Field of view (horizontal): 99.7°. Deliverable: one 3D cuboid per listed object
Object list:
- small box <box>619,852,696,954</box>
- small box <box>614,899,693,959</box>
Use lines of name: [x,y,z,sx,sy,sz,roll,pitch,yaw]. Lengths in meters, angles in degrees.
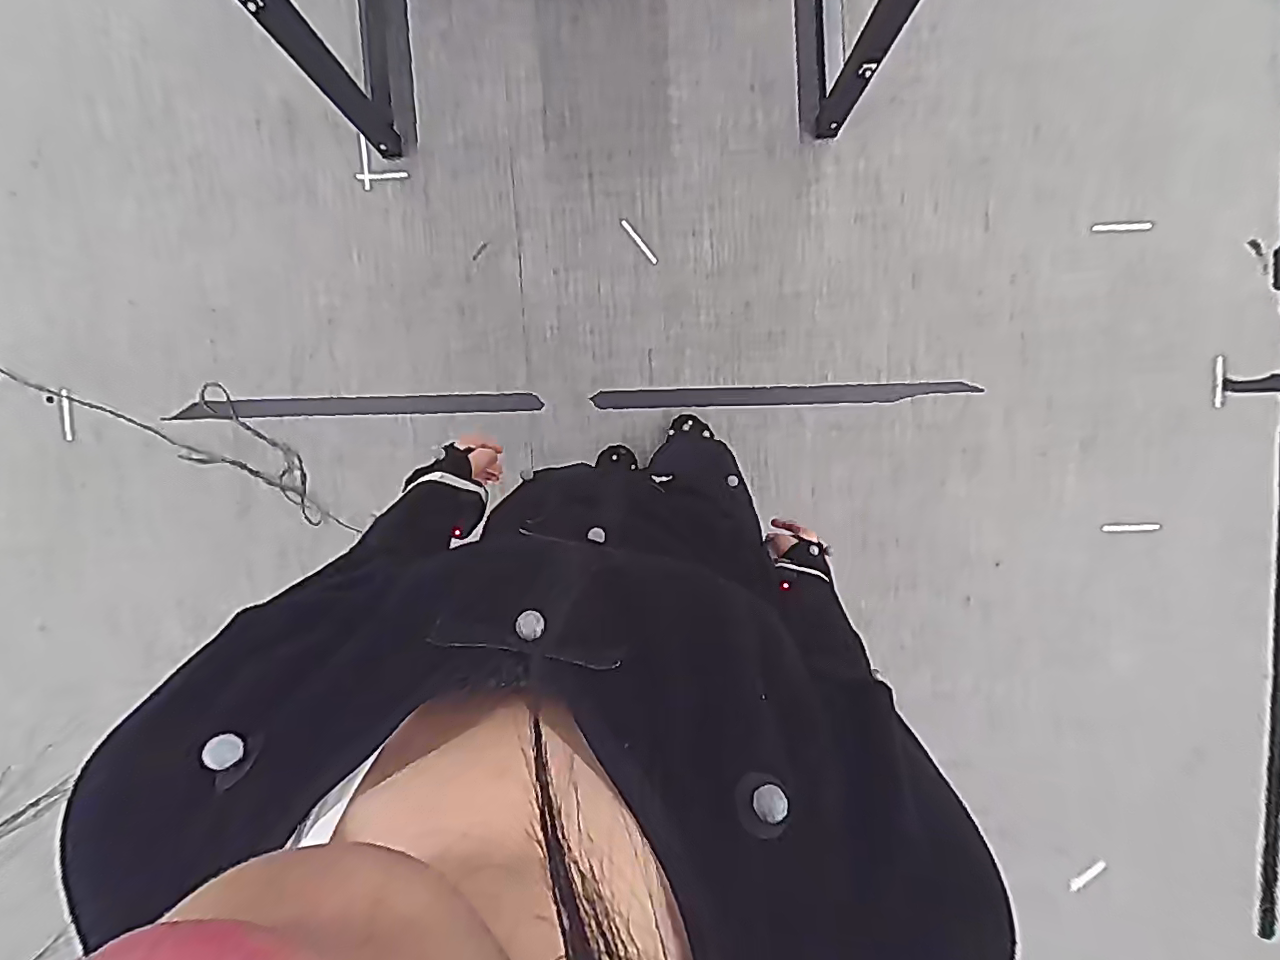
small box: [0.044,1.153,1.467,0.168,0.176,0.179,-16,93,1]
small box: [0.039,1.172,1.303,0.168,0.176,0.179,-15,94,-1]
